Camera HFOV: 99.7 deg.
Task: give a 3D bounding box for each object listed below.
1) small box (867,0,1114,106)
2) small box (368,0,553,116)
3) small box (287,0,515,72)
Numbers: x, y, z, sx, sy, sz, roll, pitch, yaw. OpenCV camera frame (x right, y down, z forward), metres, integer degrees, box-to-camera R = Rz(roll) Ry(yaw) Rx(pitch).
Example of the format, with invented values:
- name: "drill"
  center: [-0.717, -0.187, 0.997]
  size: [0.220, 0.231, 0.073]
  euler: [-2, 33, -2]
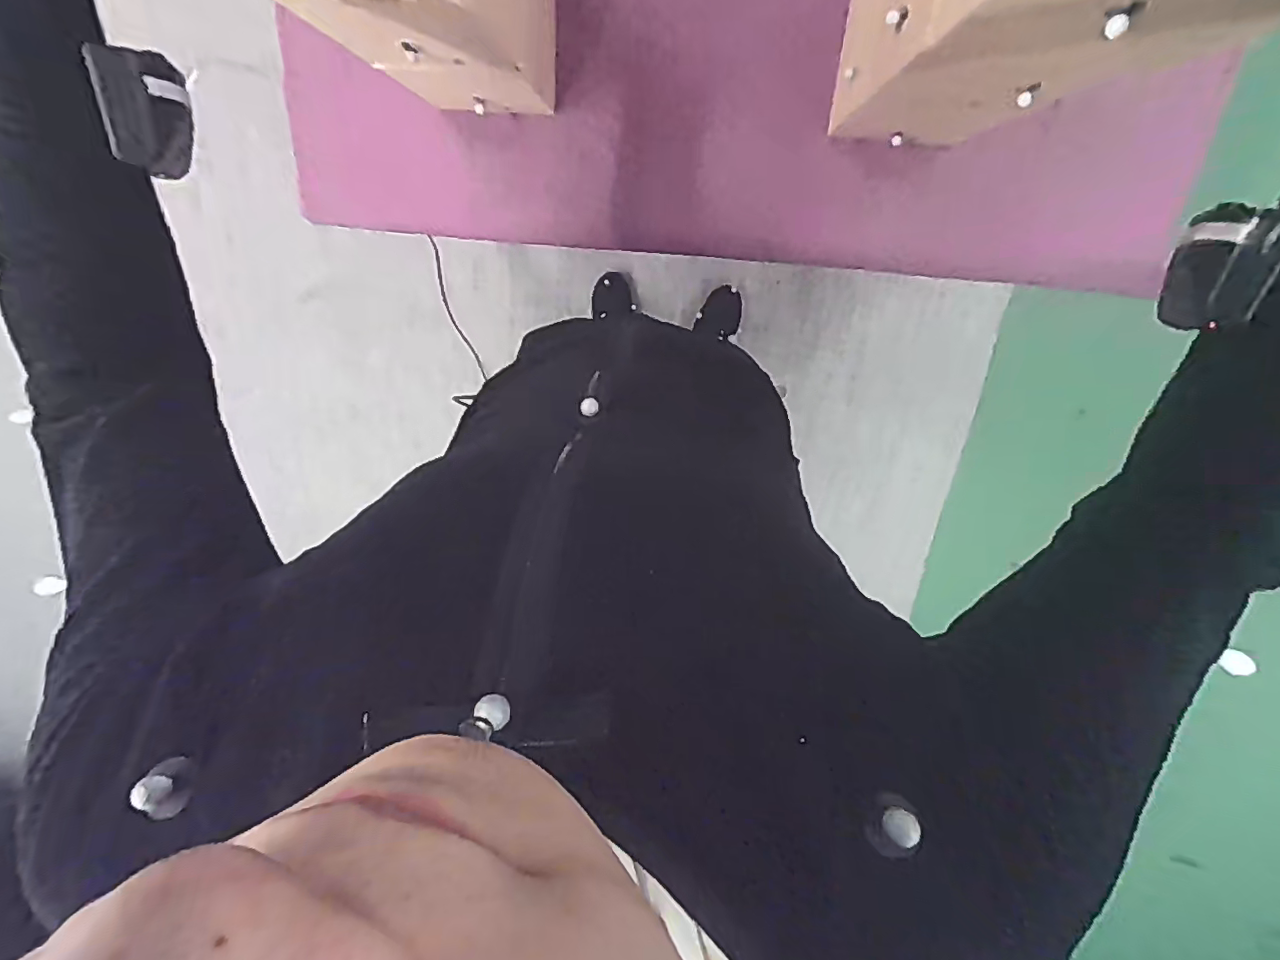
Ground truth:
- name: "small box"
  center: [0.305, -0.434, 0.448]
  size: [0.168, 0.176, 0.179]
  euler: [5, 111, 4]
- name: "small box"
  center: [-0.201, -0.553, 0.629]
  size: [0.168, 0.176, 0.179]
  euler: [5, 111, 4]
- name: "small box"
  center: [-0.215, -0.496, 0.477]
  size: [0.168, 0.176, 0.179]
  euler: [4, 112, 4]
